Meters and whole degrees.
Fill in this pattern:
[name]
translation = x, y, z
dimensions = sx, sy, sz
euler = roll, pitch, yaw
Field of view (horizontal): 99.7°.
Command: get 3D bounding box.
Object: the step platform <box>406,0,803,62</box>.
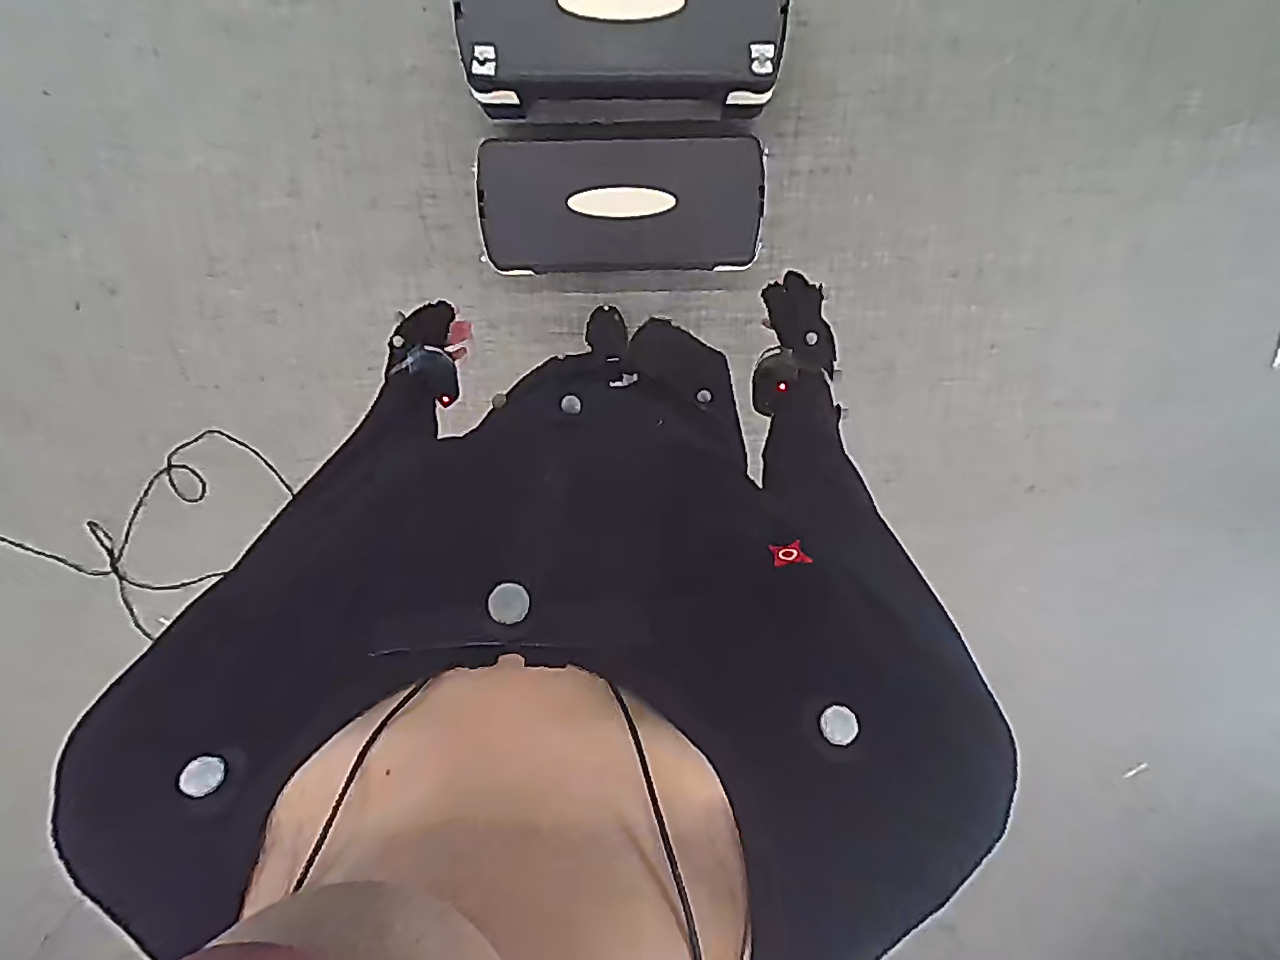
[step platform]
translation = -0.059, -0.925, 0.937
dimensions = 0.684, 0.204, 0.286
euler = -1, 106, 0
